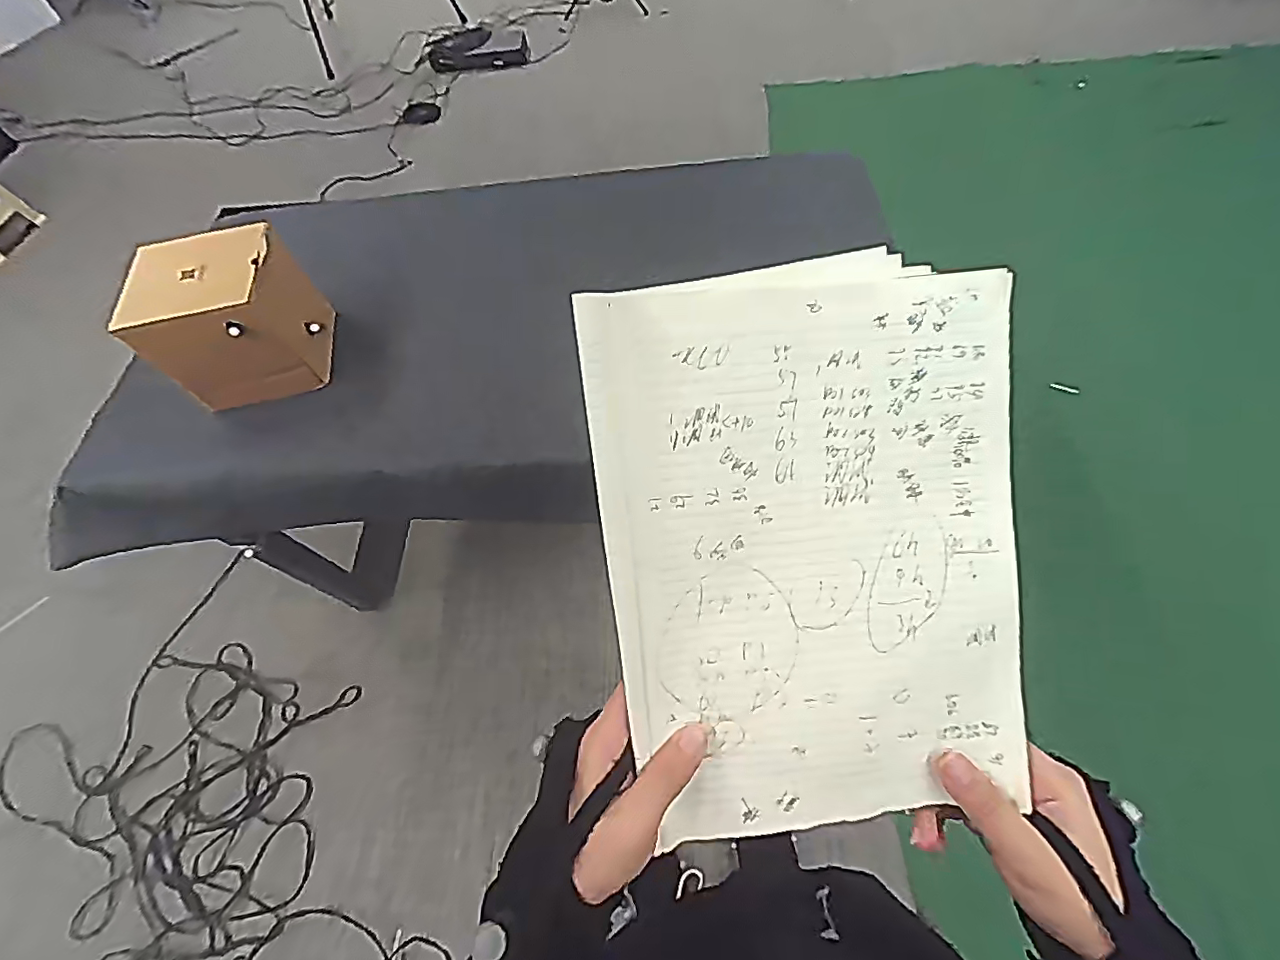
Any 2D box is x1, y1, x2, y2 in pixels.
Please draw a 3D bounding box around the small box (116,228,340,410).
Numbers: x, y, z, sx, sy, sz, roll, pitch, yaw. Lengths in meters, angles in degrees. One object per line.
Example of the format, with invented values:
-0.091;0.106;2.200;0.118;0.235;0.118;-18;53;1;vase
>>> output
-0.568;-0.221;0.773;0.179;0.176;0.168;-13;59;-2;small box
